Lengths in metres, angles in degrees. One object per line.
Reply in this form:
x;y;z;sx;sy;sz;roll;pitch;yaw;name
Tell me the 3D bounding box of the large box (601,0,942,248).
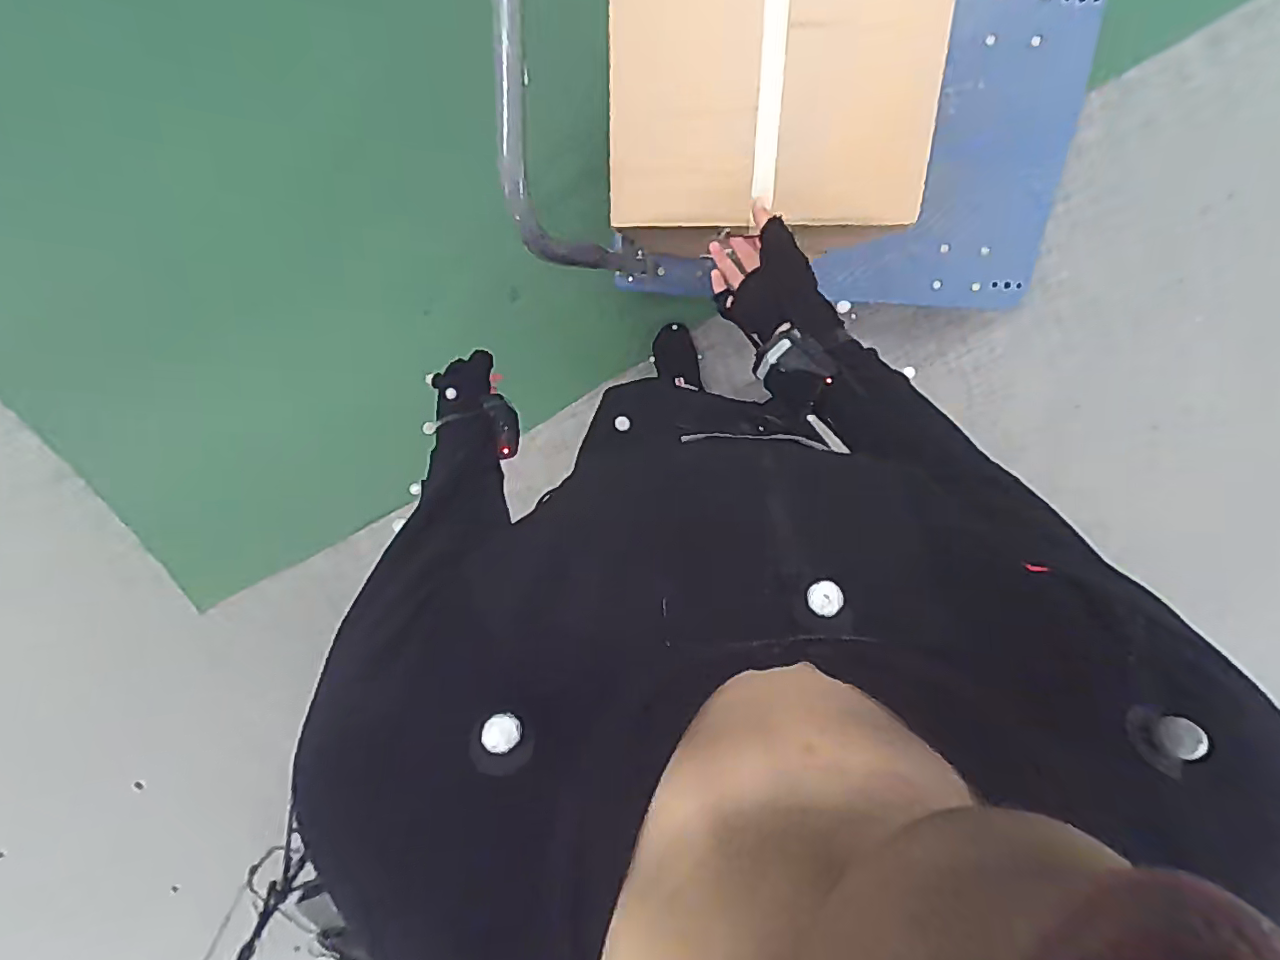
0.140;-0.502;0.630;0.320;0.320;0.408;3;109;8;large box
